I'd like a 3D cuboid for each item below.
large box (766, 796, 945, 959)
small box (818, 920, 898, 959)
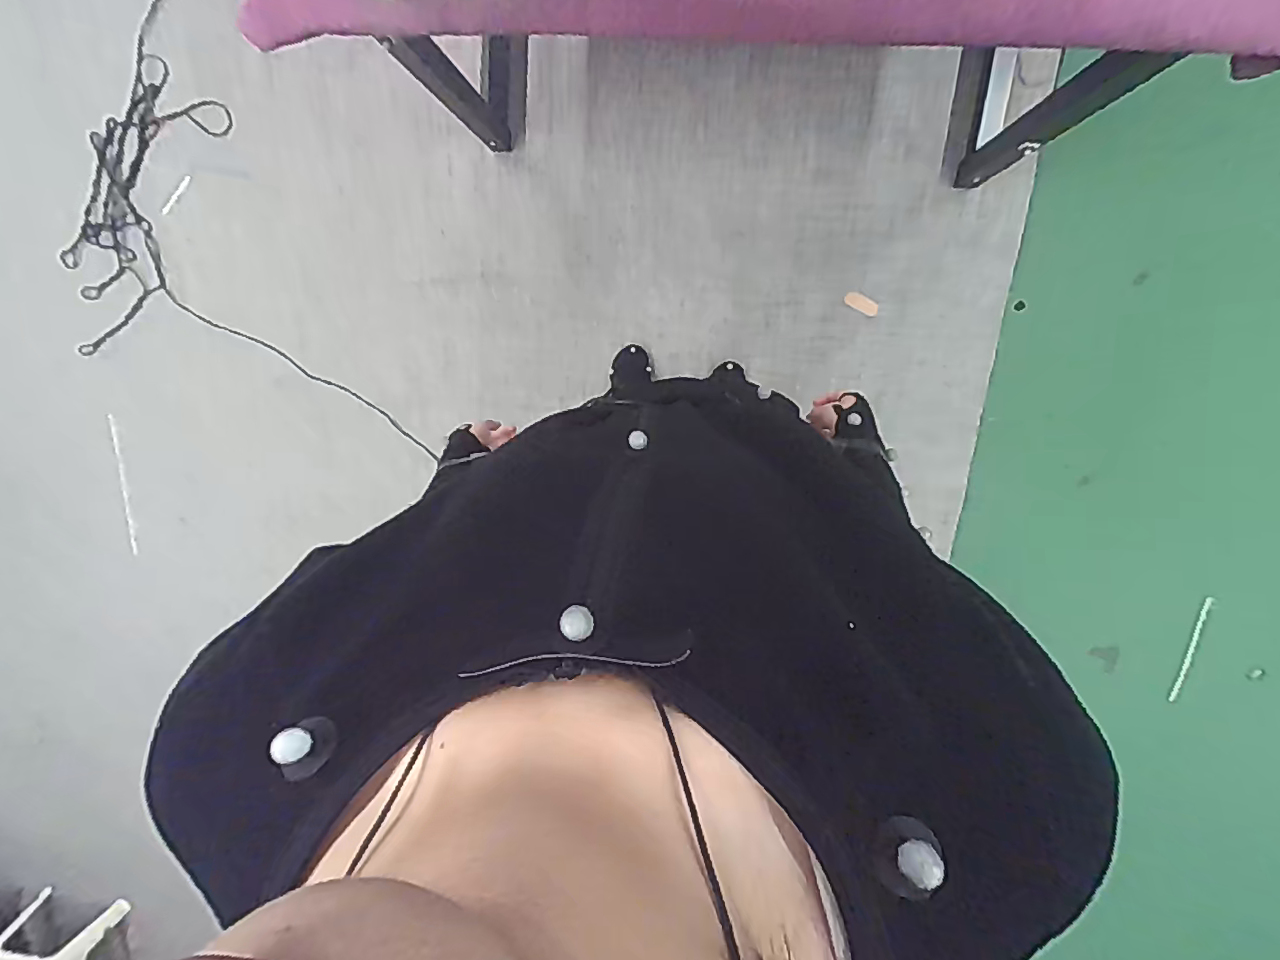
[{"bbox_3d":[0.602,1.173,1.564,0.408,0.320,0.320,-8,102,7],"label":"large box"},{"bbox_3d":[0.547,1.231,1.330,0.179,0.176,0.168,-5,100,8],"label":"small box"}]
